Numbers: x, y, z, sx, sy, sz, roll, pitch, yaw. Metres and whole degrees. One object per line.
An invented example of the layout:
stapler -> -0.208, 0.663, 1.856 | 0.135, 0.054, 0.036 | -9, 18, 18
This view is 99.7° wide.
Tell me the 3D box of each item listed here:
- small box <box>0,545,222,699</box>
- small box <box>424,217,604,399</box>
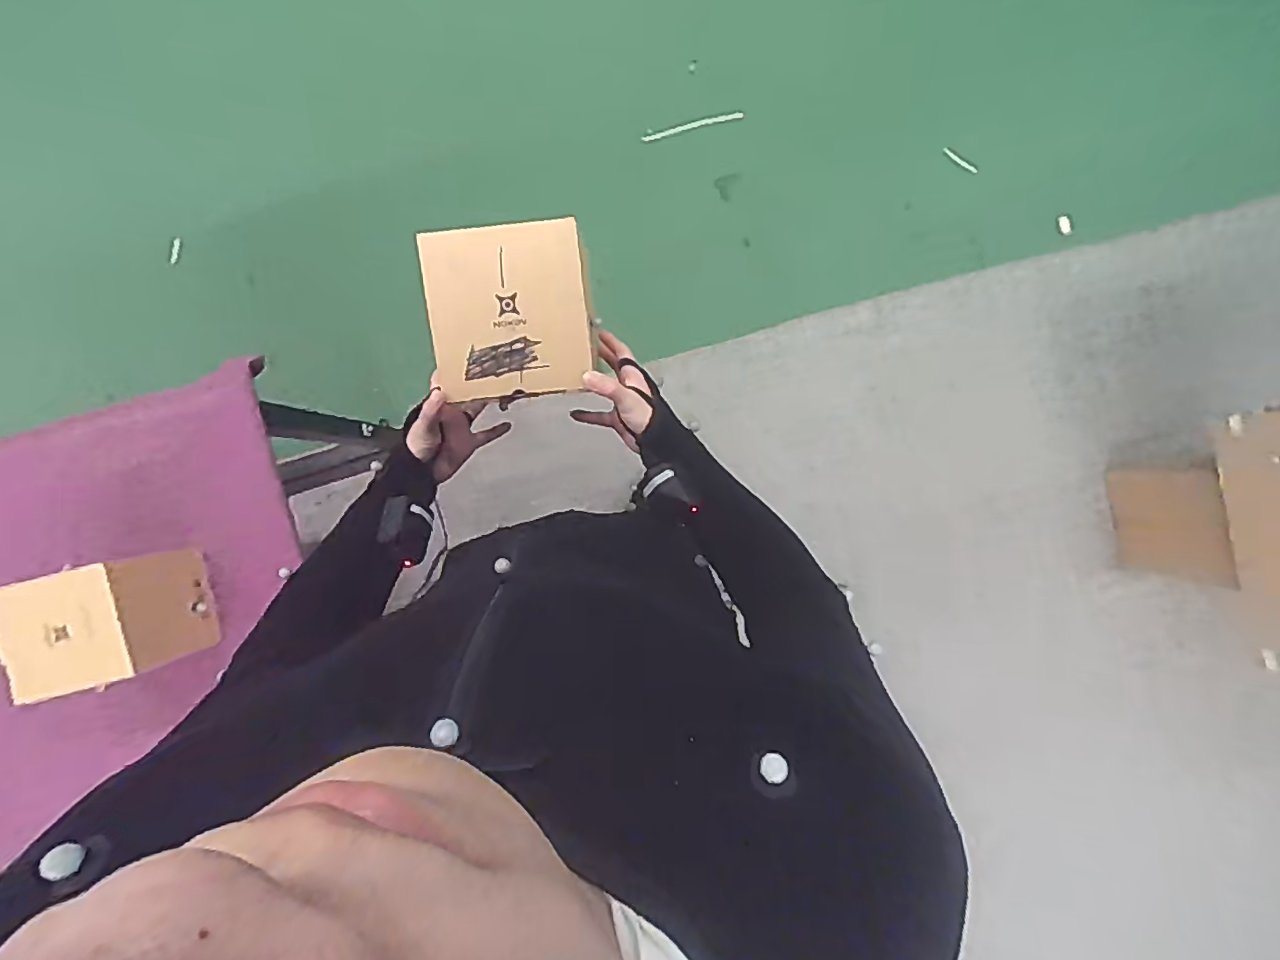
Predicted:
small box -> -0.803, 0.207, 0.831 | 0.179, 0.176, 0.168 | -14, 92, 1
small box -> -0.134, -0.191, 0.643 | 0.168, 0.176, 0.179 | -4, 99, 0
